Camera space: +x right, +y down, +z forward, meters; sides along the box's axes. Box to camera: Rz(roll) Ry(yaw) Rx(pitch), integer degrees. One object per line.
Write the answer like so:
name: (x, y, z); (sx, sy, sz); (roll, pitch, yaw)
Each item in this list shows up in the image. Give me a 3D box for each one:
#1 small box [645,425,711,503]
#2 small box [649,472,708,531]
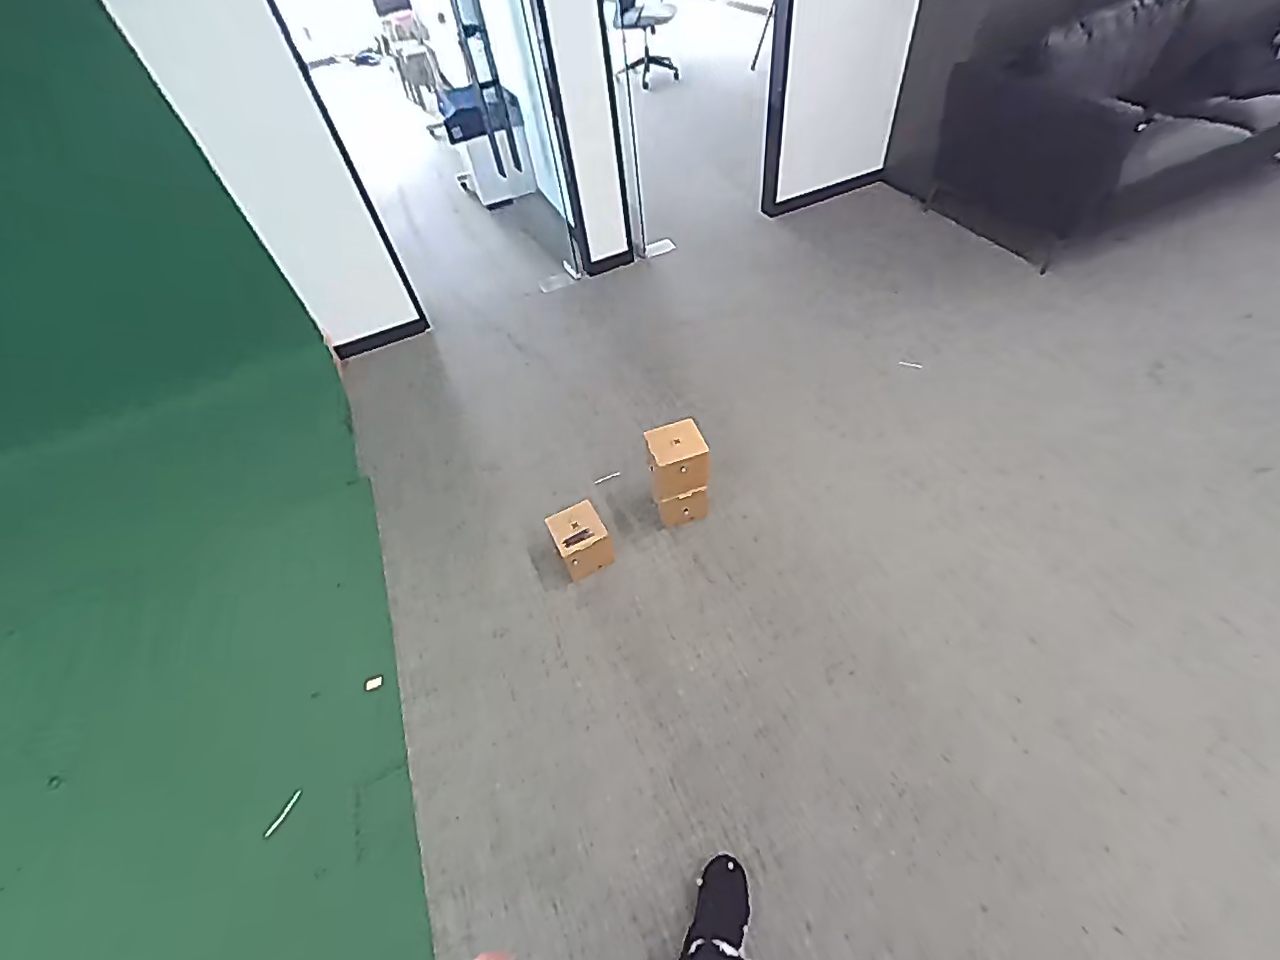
small box: (0.129, -0.051, 1.811); (0.179, 0.176, 0.168); (-18, 50, -6)
small box: (0.140, 0.062, 1.928); (0.168, 0.176, 0.179); (-16, 51, -6)
